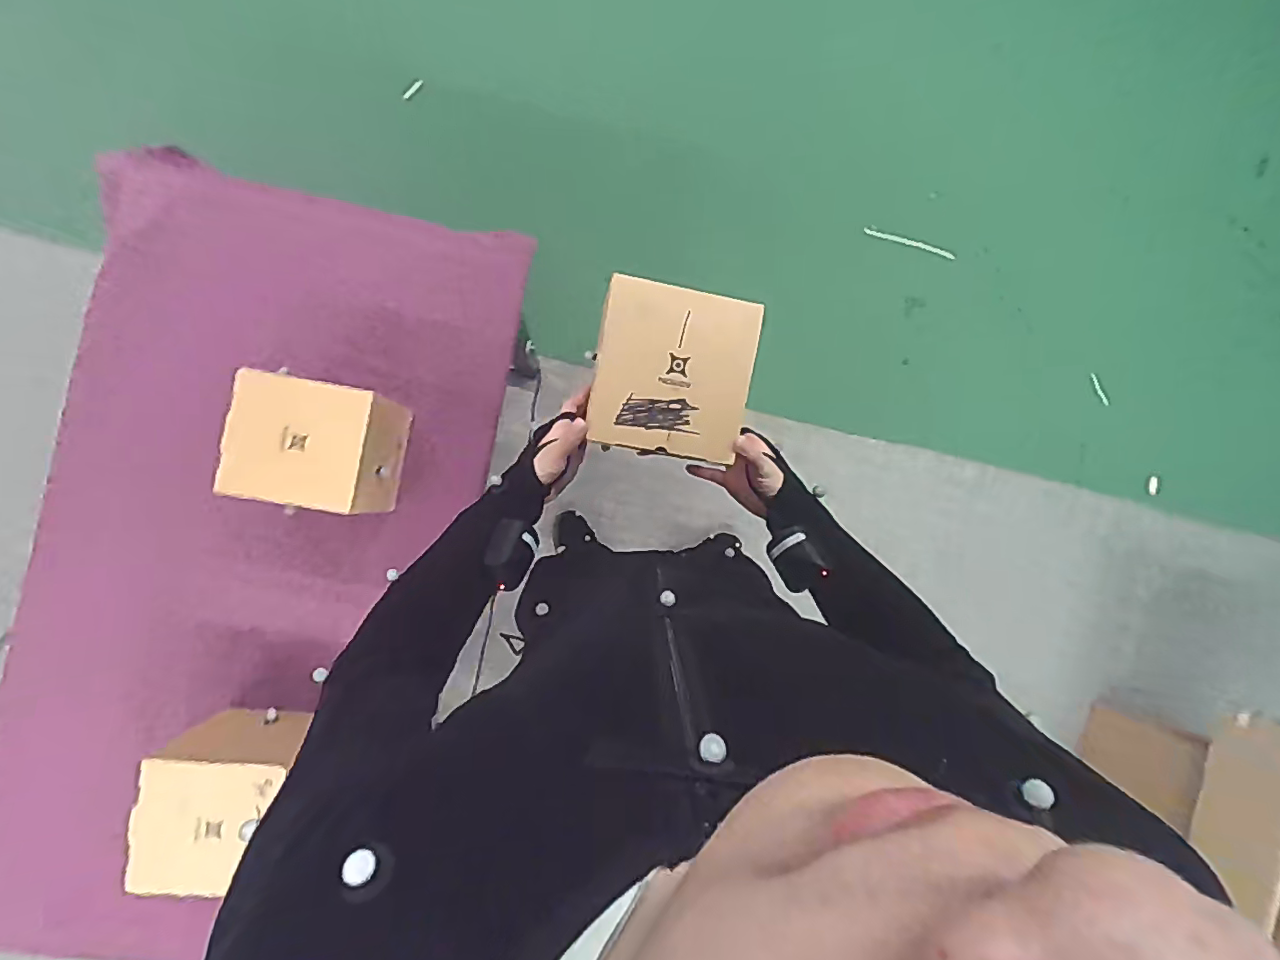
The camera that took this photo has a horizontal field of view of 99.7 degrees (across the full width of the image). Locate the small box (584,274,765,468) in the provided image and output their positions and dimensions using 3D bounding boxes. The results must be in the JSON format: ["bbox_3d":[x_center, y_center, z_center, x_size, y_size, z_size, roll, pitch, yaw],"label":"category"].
[{"bbox_3d":[0.029,-0.121,0.648,0.168,0.176,0.179,10,95,-8],"label":"small box"}]

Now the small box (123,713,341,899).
[{"bbox_3d":[-0.558,0.444,0.763,0.179,0.176,0.168,6,88,-5],"label":"small box"}]

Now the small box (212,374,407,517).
[{"bbox_3d":[-0.463,-0.044,0.788,0.179,0.176,0.168,9,88,-4],"label":"small box"}]
